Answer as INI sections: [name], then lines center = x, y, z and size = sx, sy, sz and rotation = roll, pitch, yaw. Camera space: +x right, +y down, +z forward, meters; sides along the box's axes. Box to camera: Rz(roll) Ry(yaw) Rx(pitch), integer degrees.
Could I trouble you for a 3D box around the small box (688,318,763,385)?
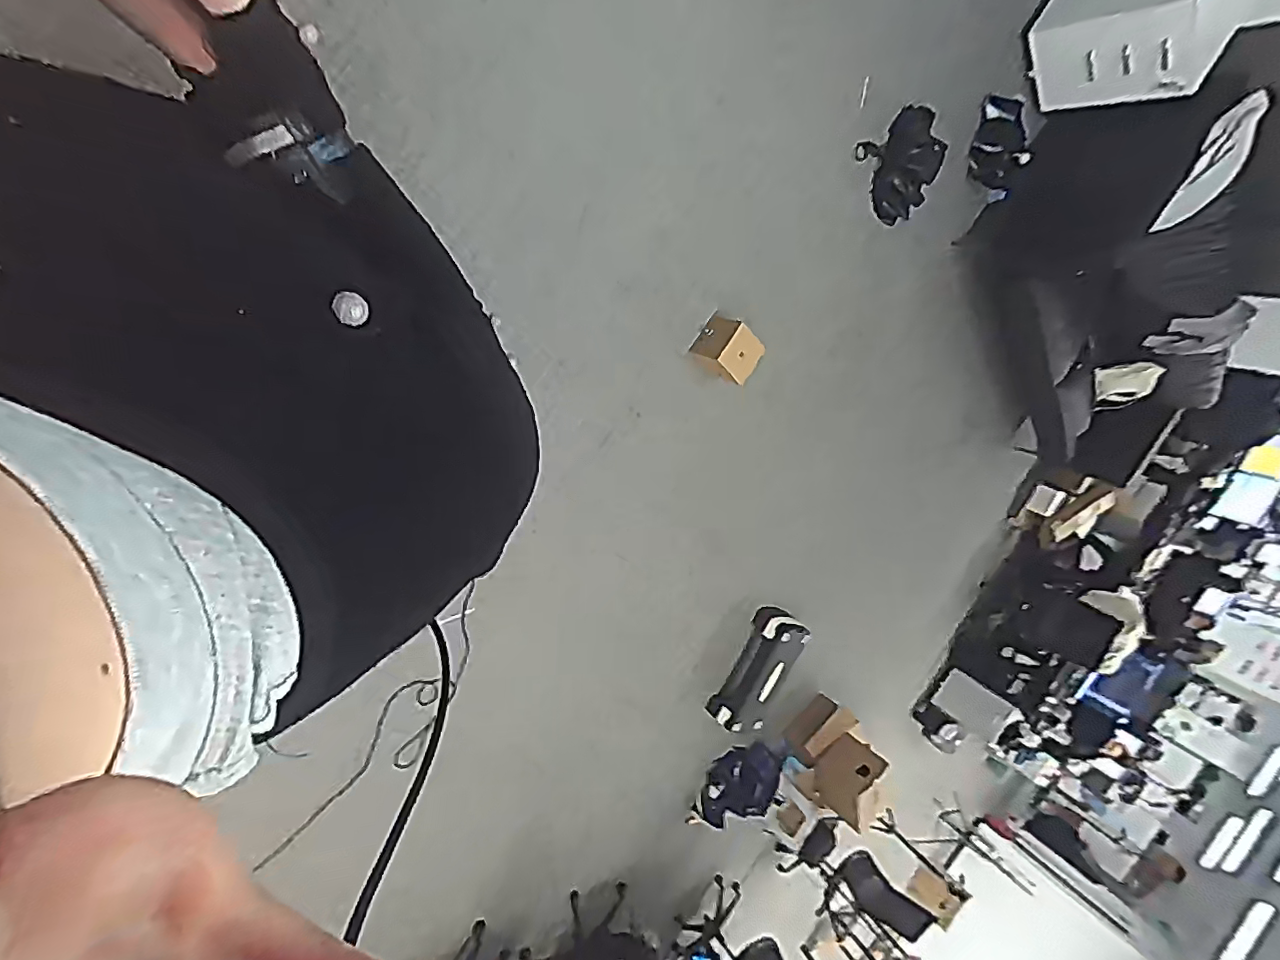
[small box]
center = 0.313, -0.478, 1.989
size = 0.179, 0.176, 0.168
rotation = 32, 89, -41
